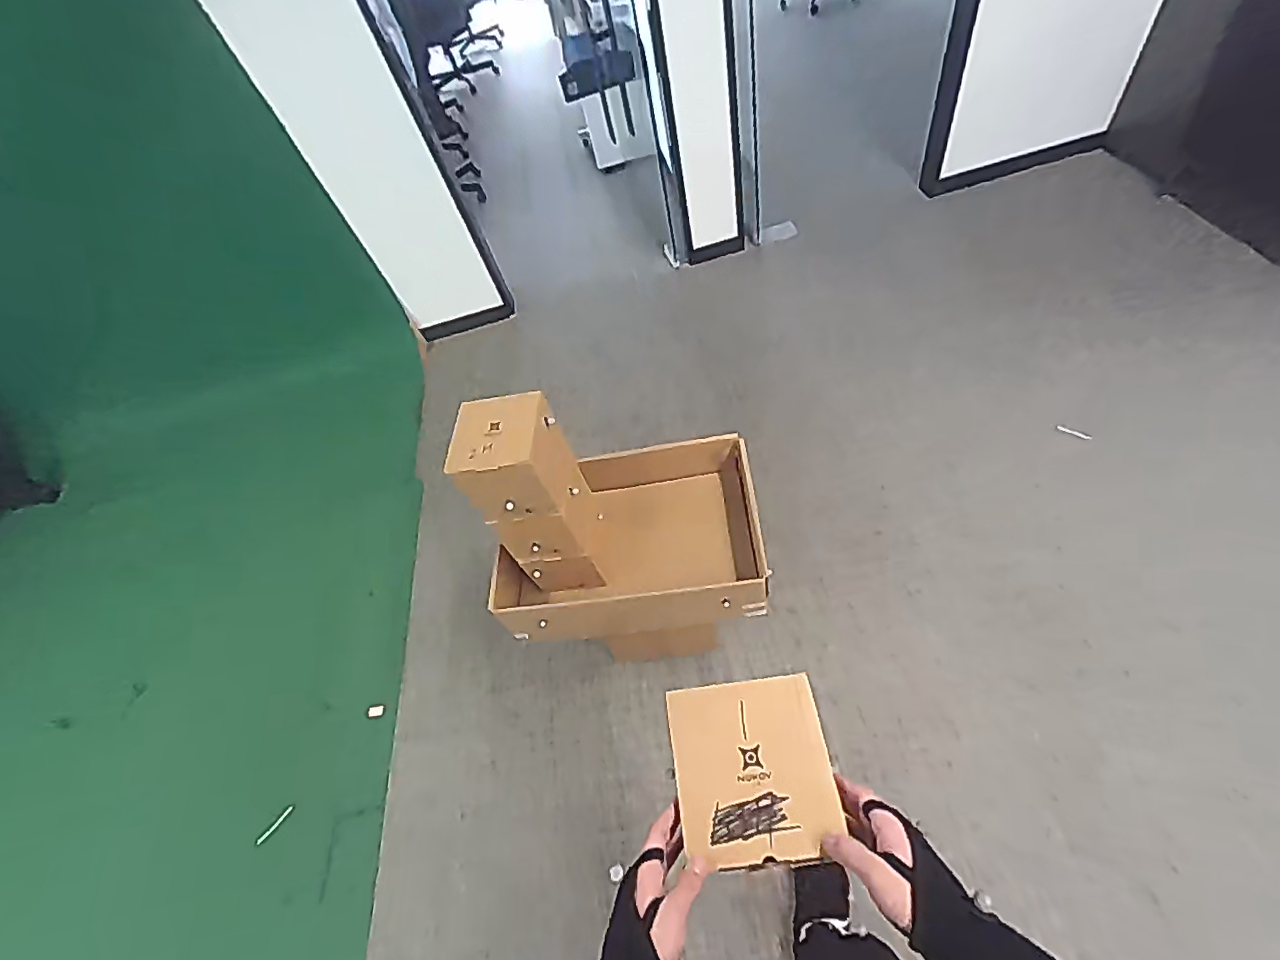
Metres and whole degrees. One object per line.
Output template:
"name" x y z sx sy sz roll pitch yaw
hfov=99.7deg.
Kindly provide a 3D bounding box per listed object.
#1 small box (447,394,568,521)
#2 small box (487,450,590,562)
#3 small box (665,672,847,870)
"small box" -0.246 -0.040 1.056 0.168 0.176 0.179 -6 54 10
"small box" -0.212 0.059 1.184 0.168 0.176 0.179 -7 53 9
"small box" 0.126 0.343 0.640 0.168 0.176 0.179 -8 56 3
